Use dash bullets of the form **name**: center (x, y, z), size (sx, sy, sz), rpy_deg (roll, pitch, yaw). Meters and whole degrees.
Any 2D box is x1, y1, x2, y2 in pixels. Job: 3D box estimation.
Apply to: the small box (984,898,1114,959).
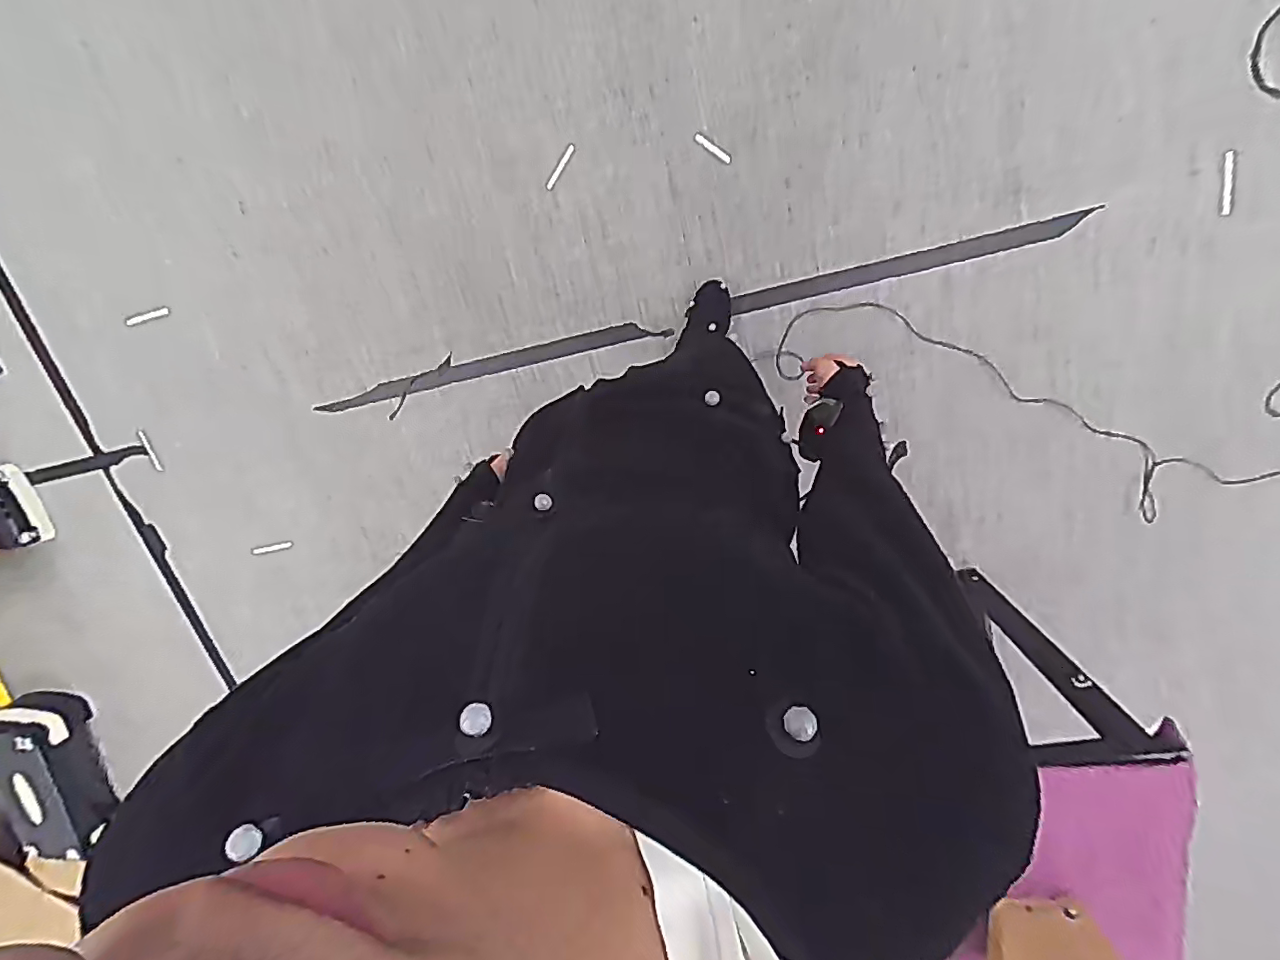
- **small box**: center (0.775, 0.929, 1.018), size (0.168, 0.176, 0.179), rpy_deg (-6, 107, 8)
